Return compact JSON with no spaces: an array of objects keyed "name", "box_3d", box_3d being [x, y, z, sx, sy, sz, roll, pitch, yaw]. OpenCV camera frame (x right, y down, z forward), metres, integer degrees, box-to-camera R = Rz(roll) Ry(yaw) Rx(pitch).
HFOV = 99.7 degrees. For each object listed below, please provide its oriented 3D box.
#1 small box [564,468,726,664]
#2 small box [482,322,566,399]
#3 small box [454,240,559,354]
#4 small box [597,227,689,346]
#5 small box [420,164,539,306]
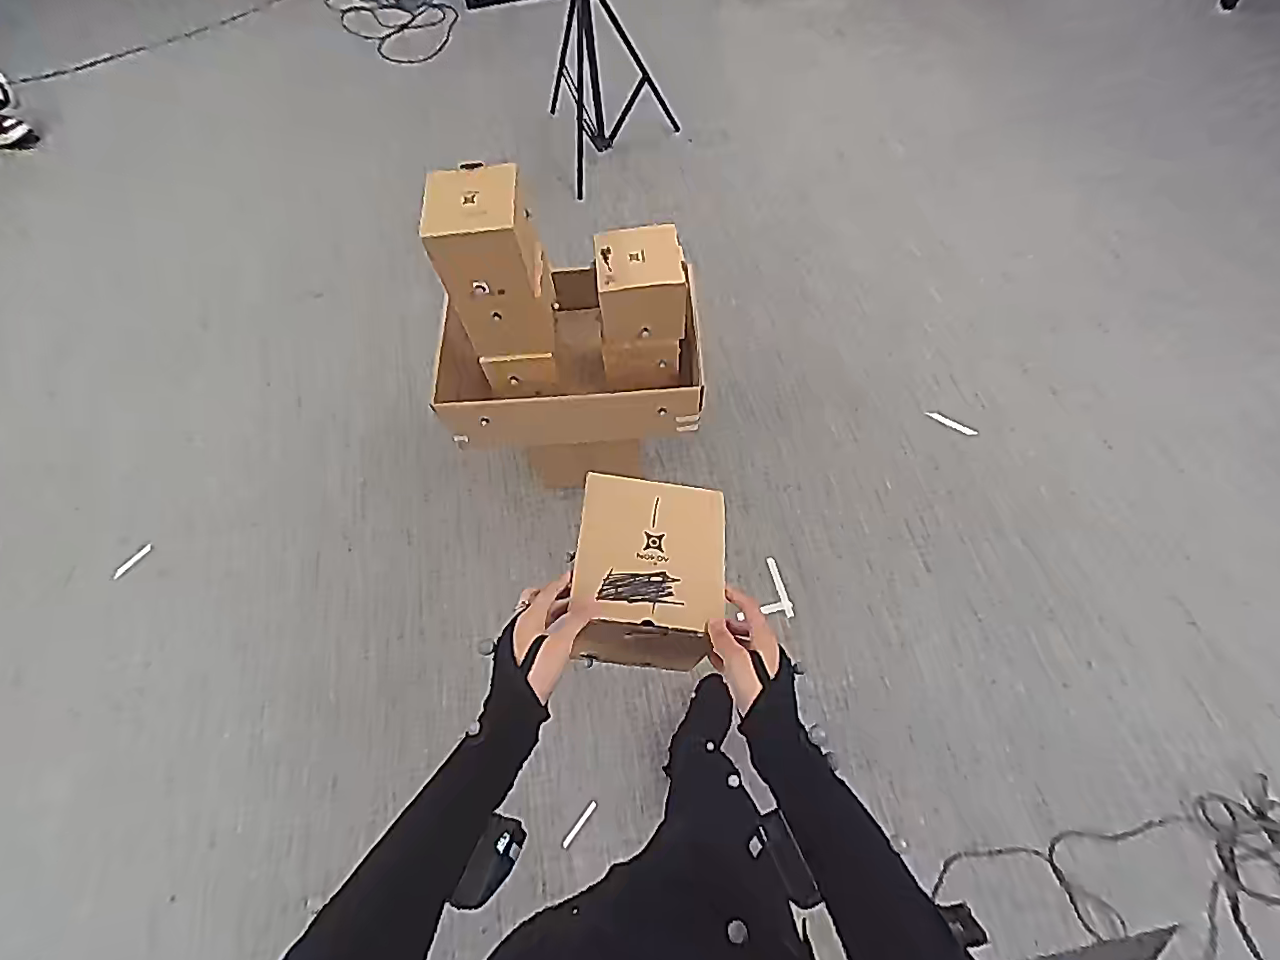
[{"name":"small box","box_3d":[0.003,0.111,0.652,0.168,0.176,0.179,8,57,-5]},{"name":"small box","box_3d":[-0.274,-0.308,1.309,0.168,0.176,0.179,-4,64,0]},{"name":"small box","box_3d":[-0.278,-0.387,1.164,0.179,0.176,0.168,-3,64,1]},{"name":"small box","box_3d":[0.005,-0.407,1.152,0.179,0.176,0.168,-6,65,0]},{"name":"small box","box_3d":[-0.291,-0.456,1.016,0.168,0.176,0.179,-6,63,1]}]
